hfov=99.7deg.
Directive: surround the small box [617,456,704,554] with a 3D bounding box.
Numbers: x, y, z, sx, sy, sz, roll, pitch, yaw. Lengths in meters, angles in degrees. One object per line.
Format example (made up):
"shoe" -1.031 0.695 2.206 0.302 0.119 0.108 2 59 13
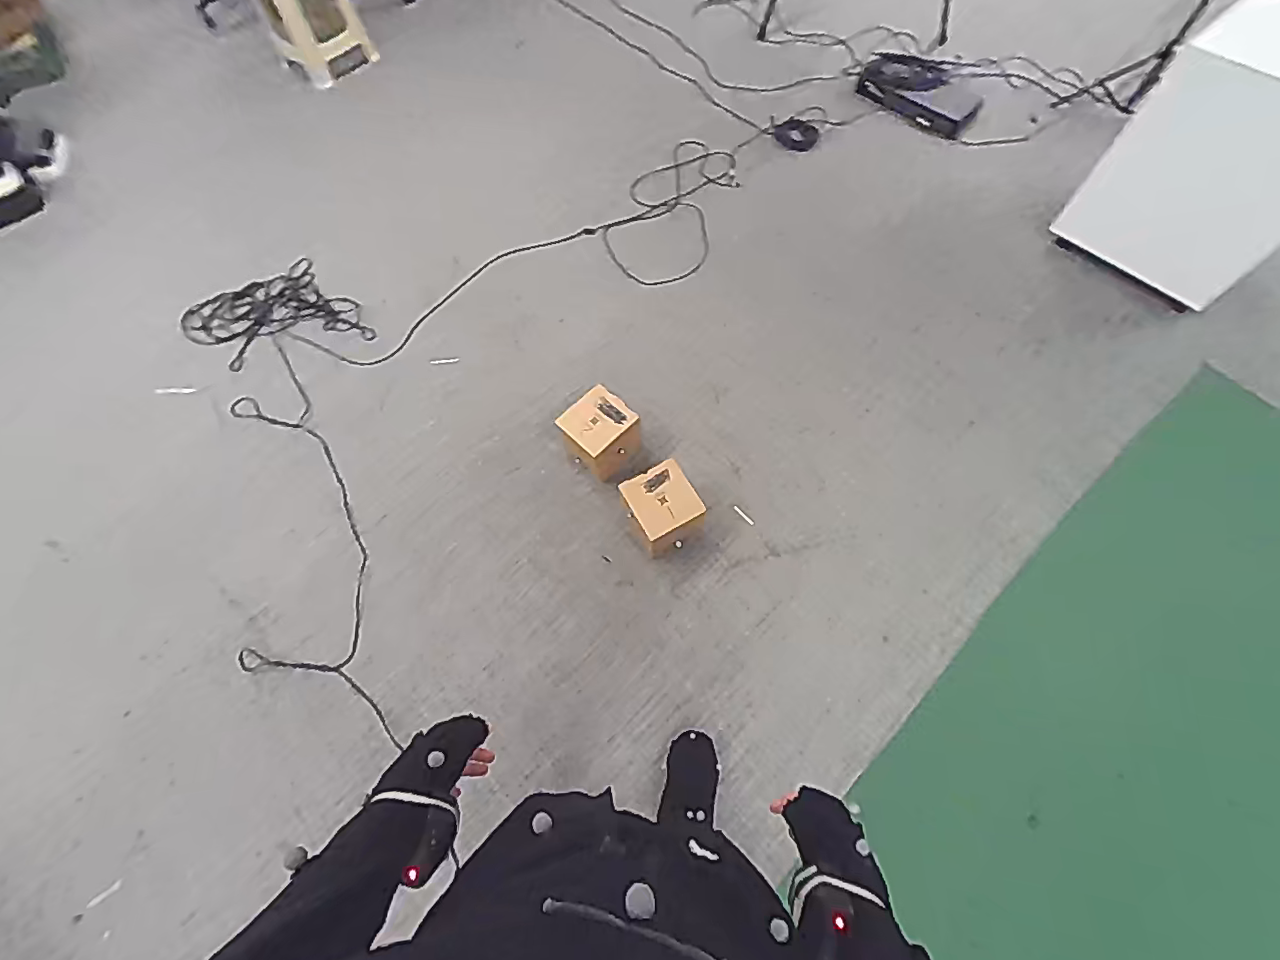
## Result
"small box" 0.053 0.071 1.443 0.168 0.176 0.179 -28 68 -10
